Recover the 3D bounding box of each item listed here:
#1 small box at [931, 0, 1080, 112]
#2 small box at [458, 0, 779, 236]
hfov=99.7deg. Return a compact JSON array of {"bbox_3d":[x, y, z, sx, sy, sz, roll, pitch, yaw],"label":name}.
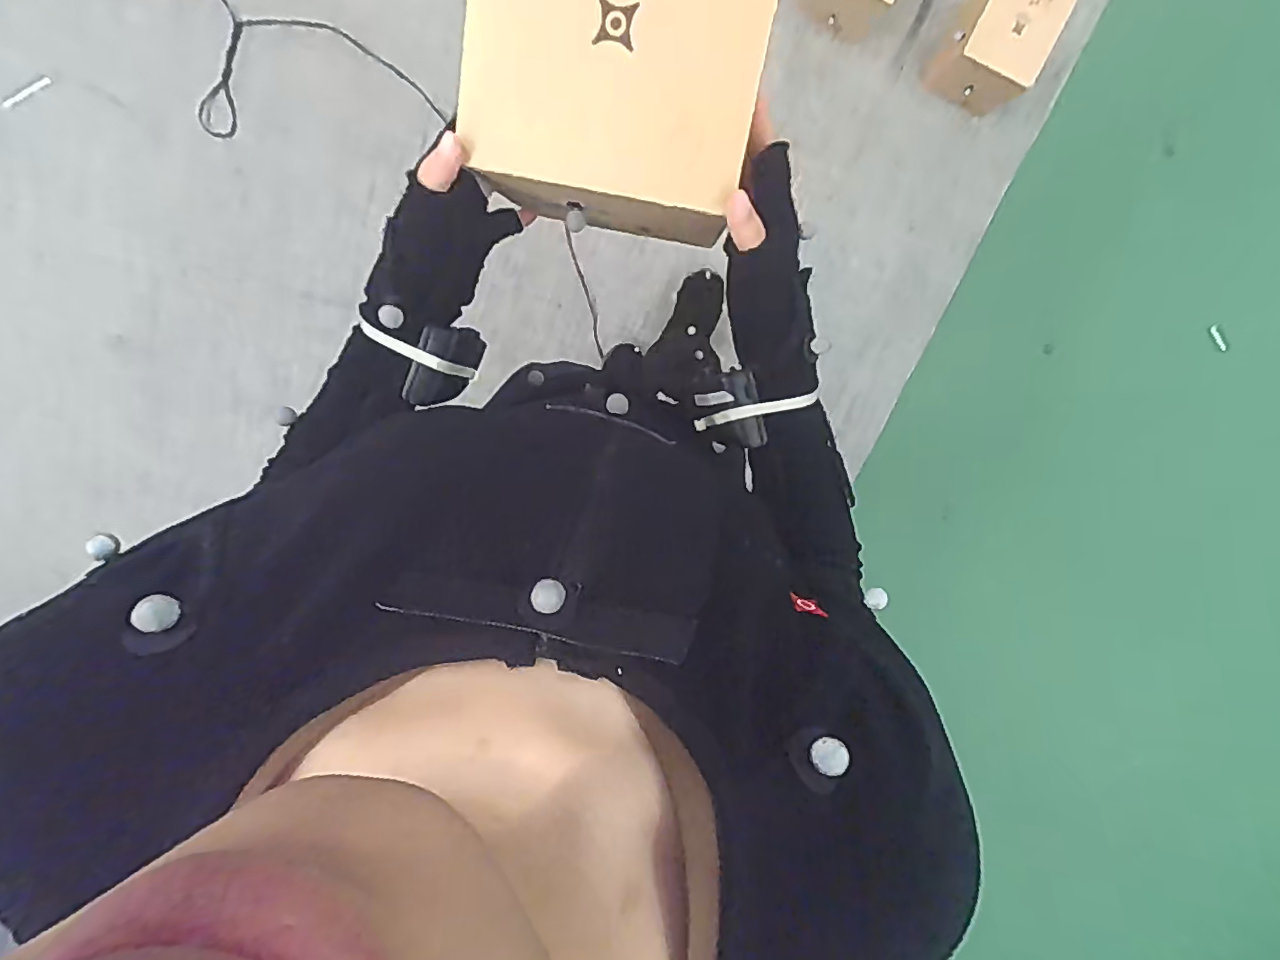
[{"bbox_3d":[0.757,-0.927,1.146,0.168,0.176,0.179,22,105,-7],"label":"small box"},{"bbox_3d":[-0.004,-0.275,0.358,0.168,0.176,0.179,11,107,0],"label":"small box"}]
